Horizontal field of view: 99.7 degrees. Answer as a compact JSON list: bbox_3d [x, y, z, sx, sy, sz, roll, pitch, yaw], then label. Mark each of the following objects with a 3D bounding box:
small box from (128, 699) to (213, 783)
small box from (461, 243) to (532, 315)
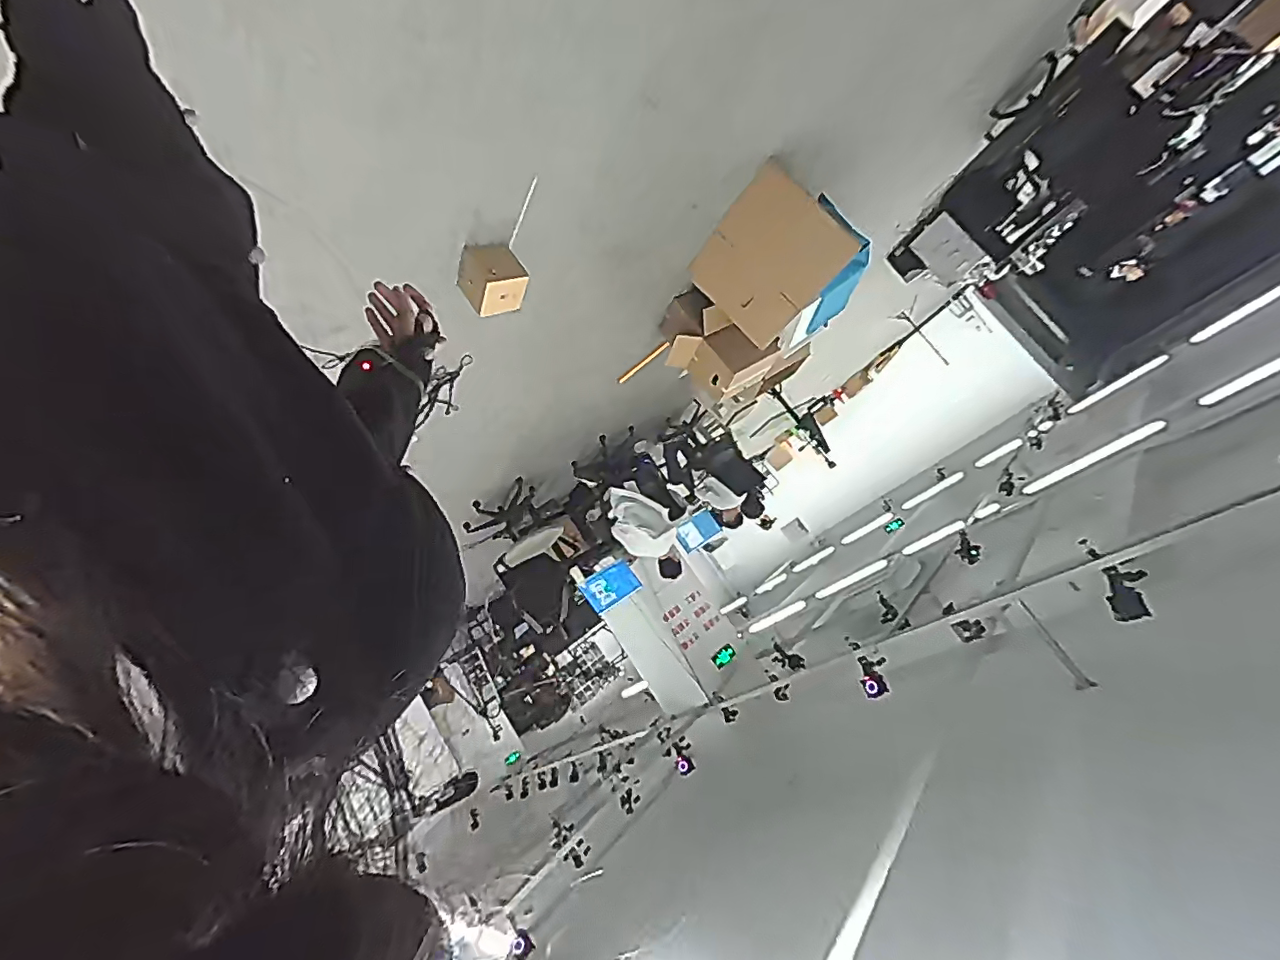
[{"bbox_3d":[-1.519,0.840,1.753,0.168,0.176,0.179,-23,163,-46],"label":"small box"},{"bbox_3d":[-0.522,-0.728,1.953,0.179,0.176,0.168,-28,166,-36],"label":"small box"}]
